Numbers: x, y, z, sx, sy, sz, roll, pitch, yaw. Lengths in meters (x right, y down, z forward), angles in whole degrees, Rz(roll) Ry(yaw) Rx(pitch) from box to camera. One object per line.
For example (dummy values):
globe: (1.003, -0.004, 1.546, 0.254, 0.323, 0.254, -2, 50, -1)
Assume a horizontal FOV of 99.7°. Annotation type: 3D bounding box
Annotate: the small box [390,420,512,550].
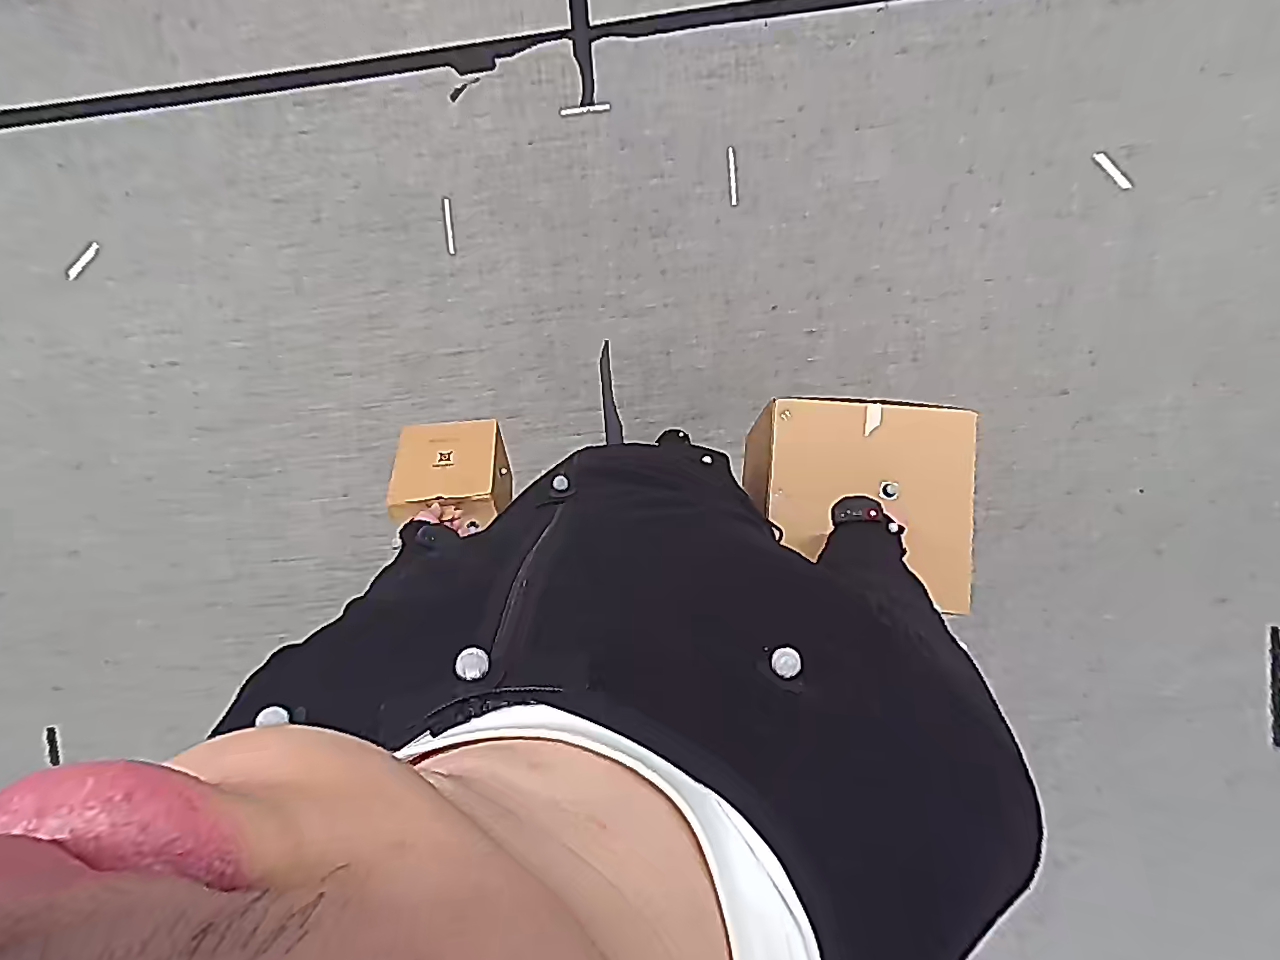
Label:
small box: (-0.329, 0.015, 0.978, 0.168, 0.176, 0.179, -5, 51, -5)
